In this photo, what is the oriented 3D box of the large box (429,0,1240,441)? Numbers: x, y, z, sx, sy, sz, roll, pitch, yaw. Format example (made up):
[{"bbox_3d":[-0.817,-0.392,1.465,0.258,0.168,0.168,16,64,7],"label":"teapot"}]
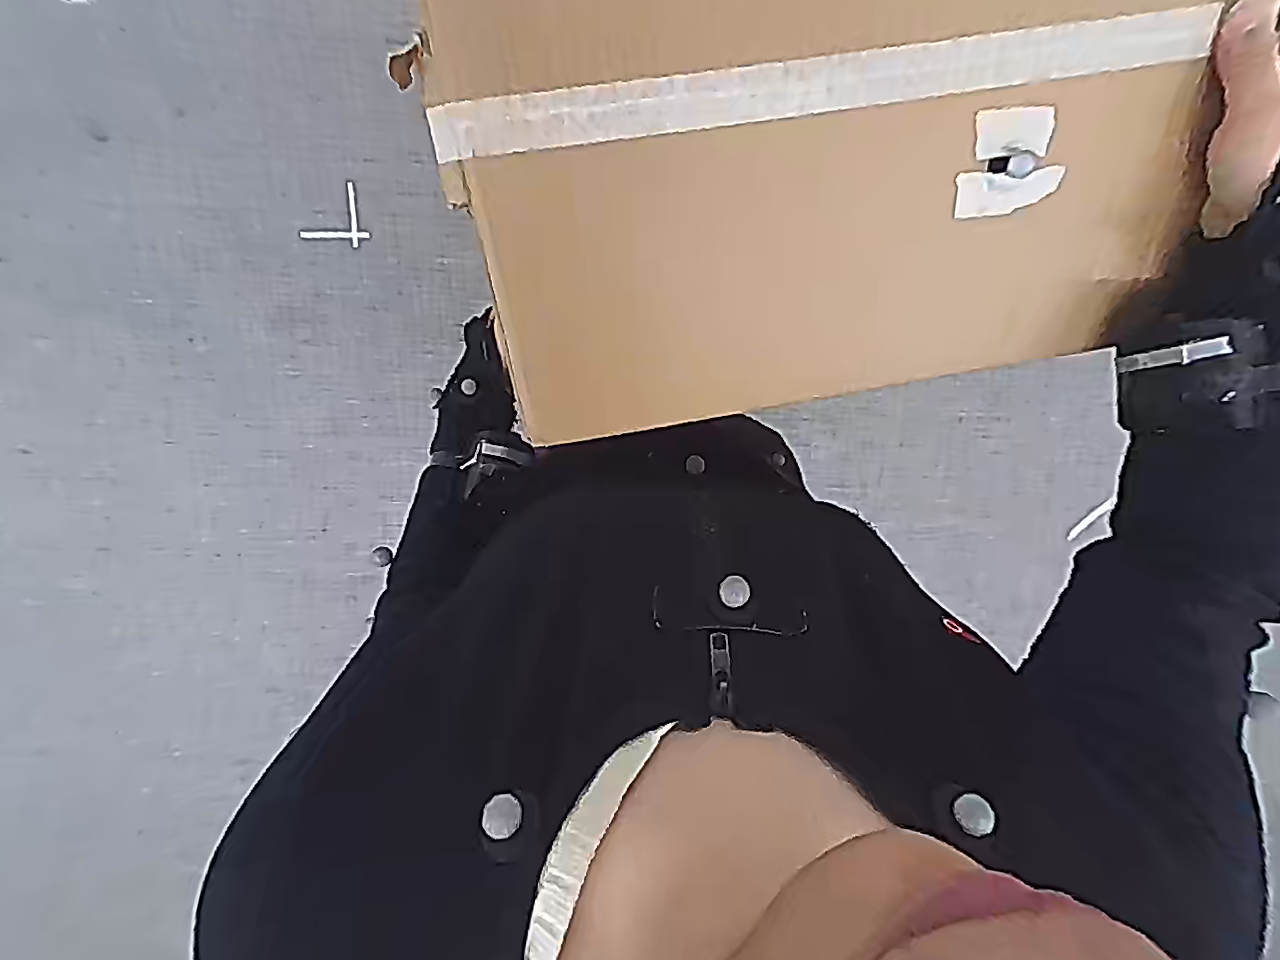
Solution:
[{"bbox_3d":[0.086,-0.260,0.396,0.408,0.320,0.320,-11,119,-6],"label":"large box"}]
